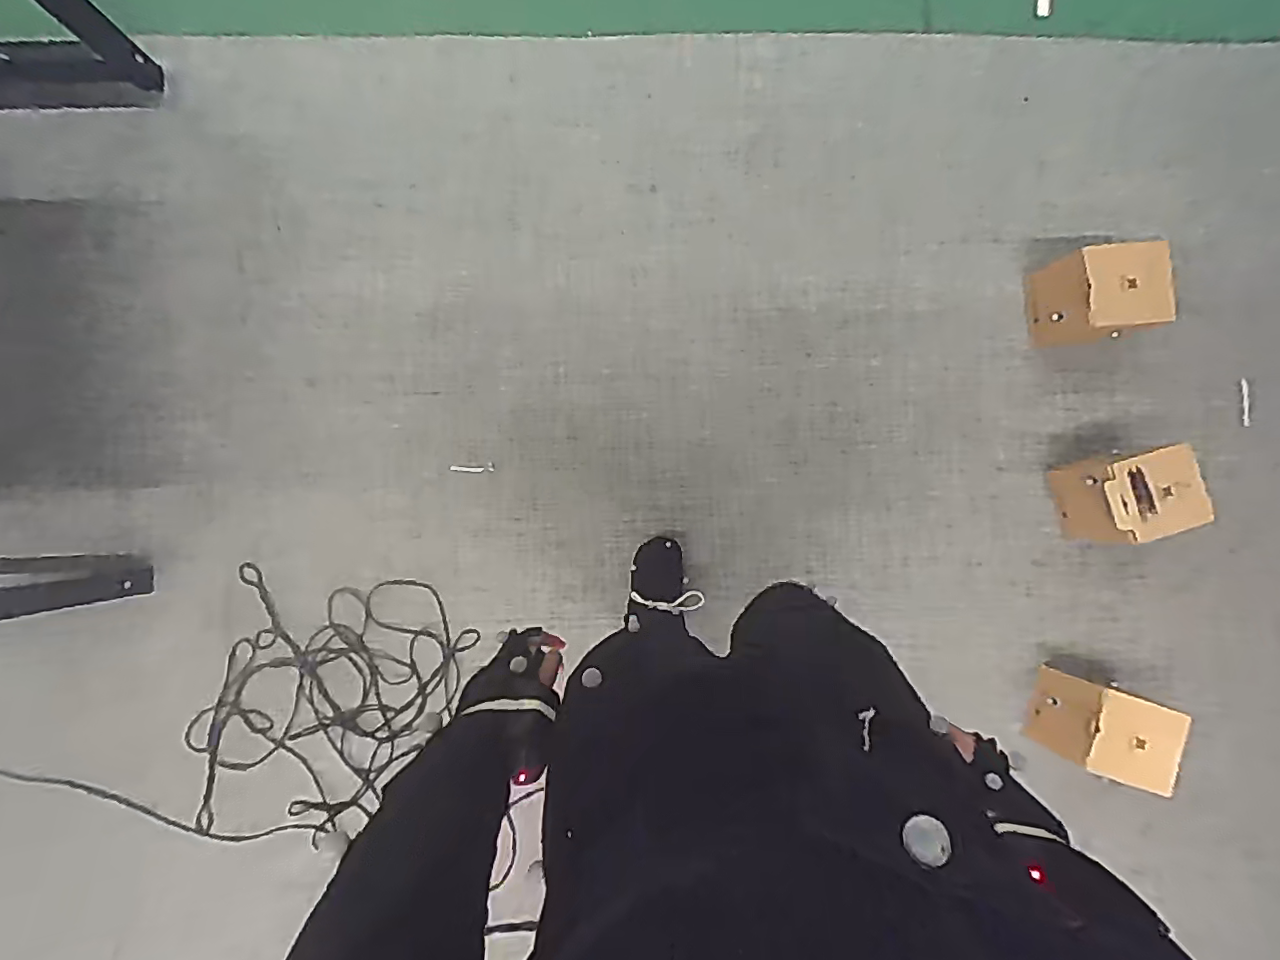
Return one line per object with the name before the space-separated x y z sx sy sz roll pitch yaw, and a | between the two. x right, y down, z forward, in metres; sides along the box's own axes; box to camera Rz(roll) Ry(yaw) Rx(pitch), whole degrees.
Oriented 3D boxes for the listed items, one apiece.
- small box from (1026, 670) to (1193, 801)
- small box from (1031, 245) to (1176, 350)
small box | 0.954 0.513 1.113 0.179 0.176 0.168 18 87 0
small box | 0.976 -0.382 1.158 0.179 0.176 0.168 -4 88 -2
